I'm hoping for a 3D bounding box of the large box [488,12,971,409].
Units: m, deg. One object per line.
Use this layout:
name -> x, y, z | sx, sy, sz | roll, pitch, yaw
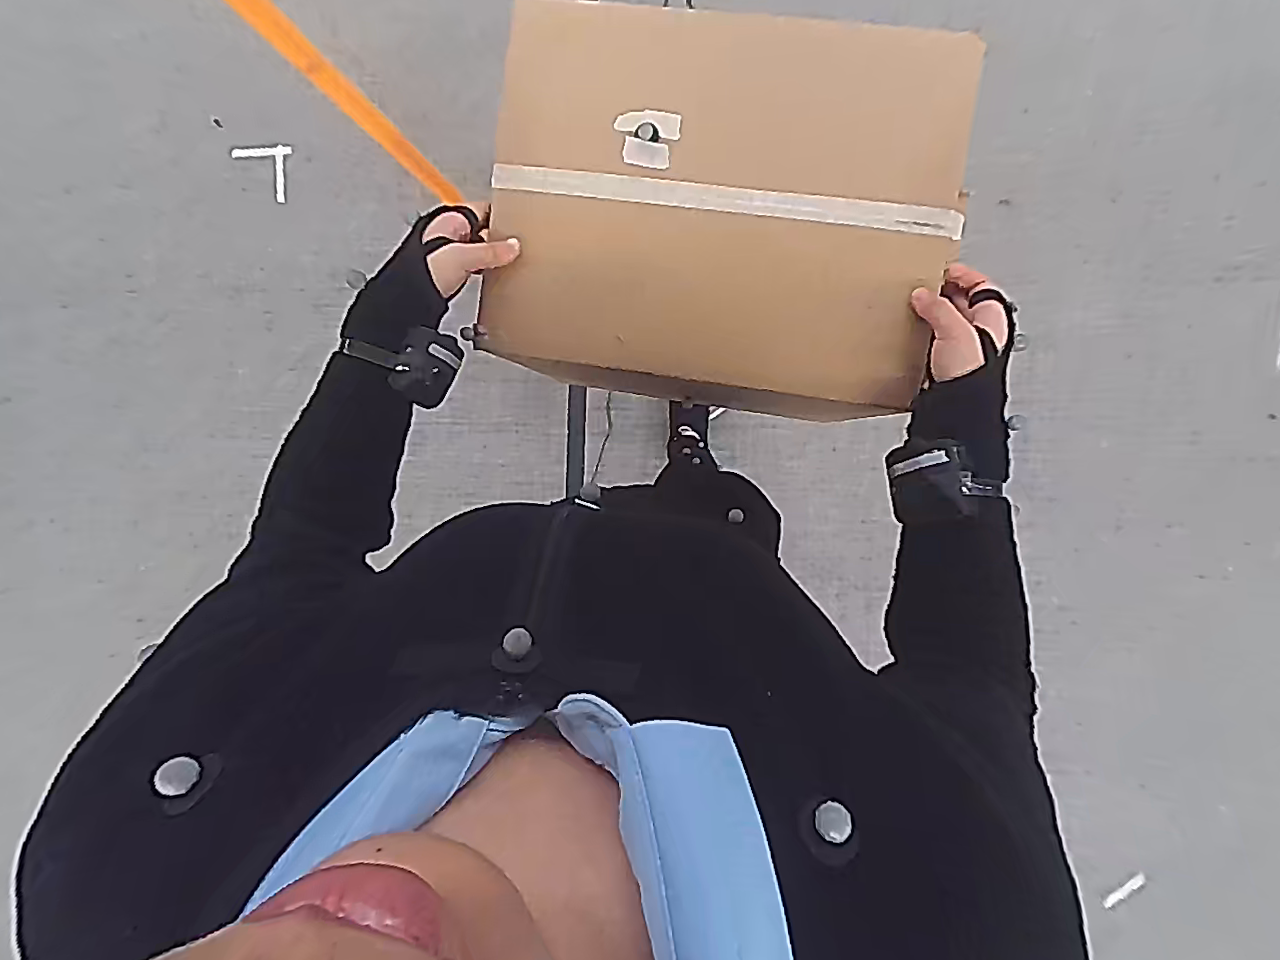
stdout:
large box -> 0.086, -0.264, 0.635 | 0.408, 0.320, 0.320 | 9, 94, 6
